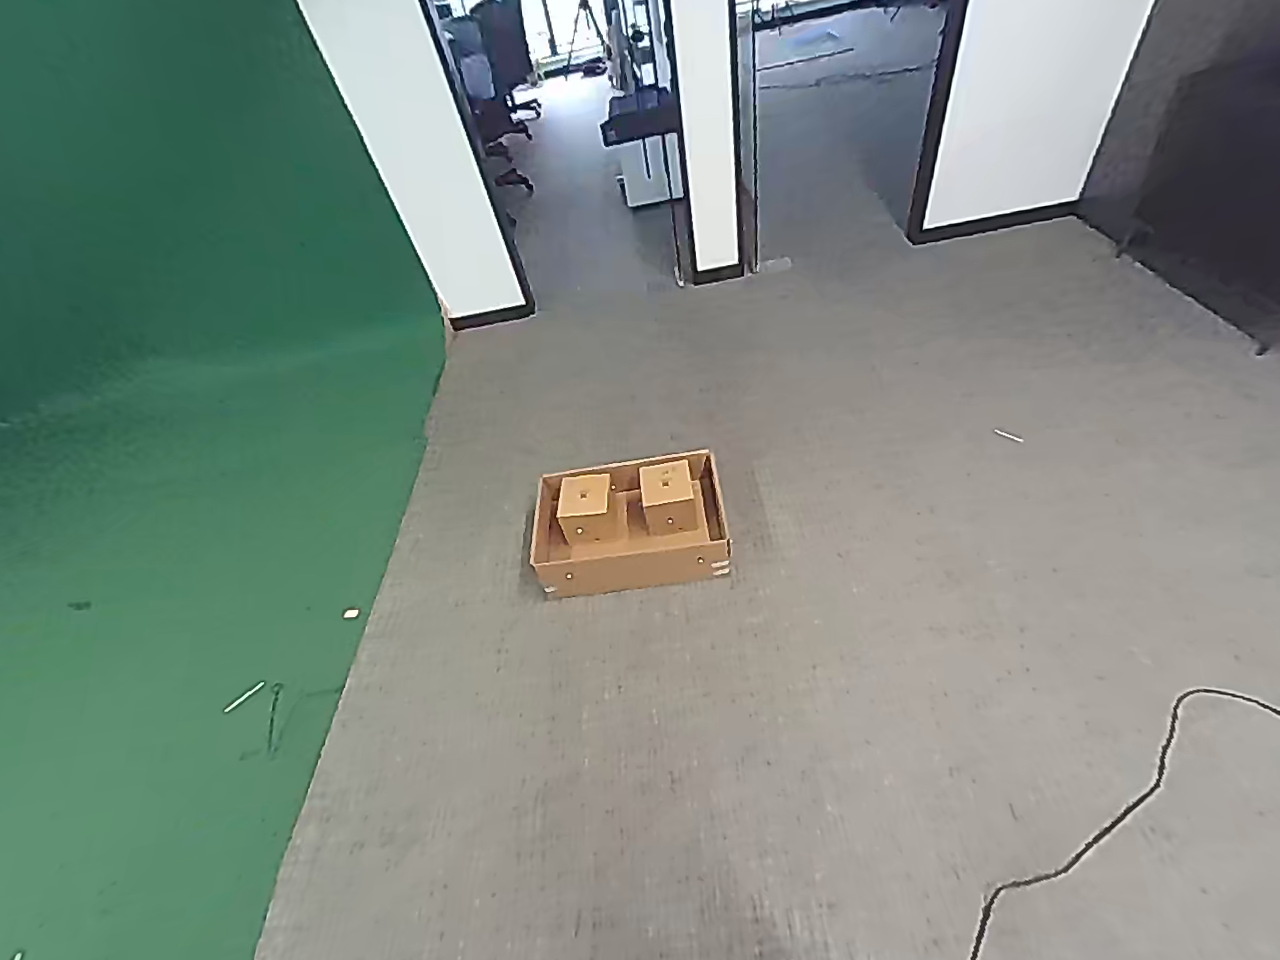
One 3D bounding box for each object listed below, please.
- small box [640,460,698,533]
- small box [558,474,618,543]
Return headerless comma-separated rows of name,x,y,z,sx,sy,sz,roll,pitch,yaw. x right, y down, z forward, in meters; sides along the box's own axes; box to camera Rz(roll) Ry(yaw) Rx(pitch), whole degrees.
small box,0.099,0.062,1.813,0.168,0.176,0.179,-9,47,5
small box,-0.171,0.103,1.841,0.168,0.176,0.179,-5,47,7
